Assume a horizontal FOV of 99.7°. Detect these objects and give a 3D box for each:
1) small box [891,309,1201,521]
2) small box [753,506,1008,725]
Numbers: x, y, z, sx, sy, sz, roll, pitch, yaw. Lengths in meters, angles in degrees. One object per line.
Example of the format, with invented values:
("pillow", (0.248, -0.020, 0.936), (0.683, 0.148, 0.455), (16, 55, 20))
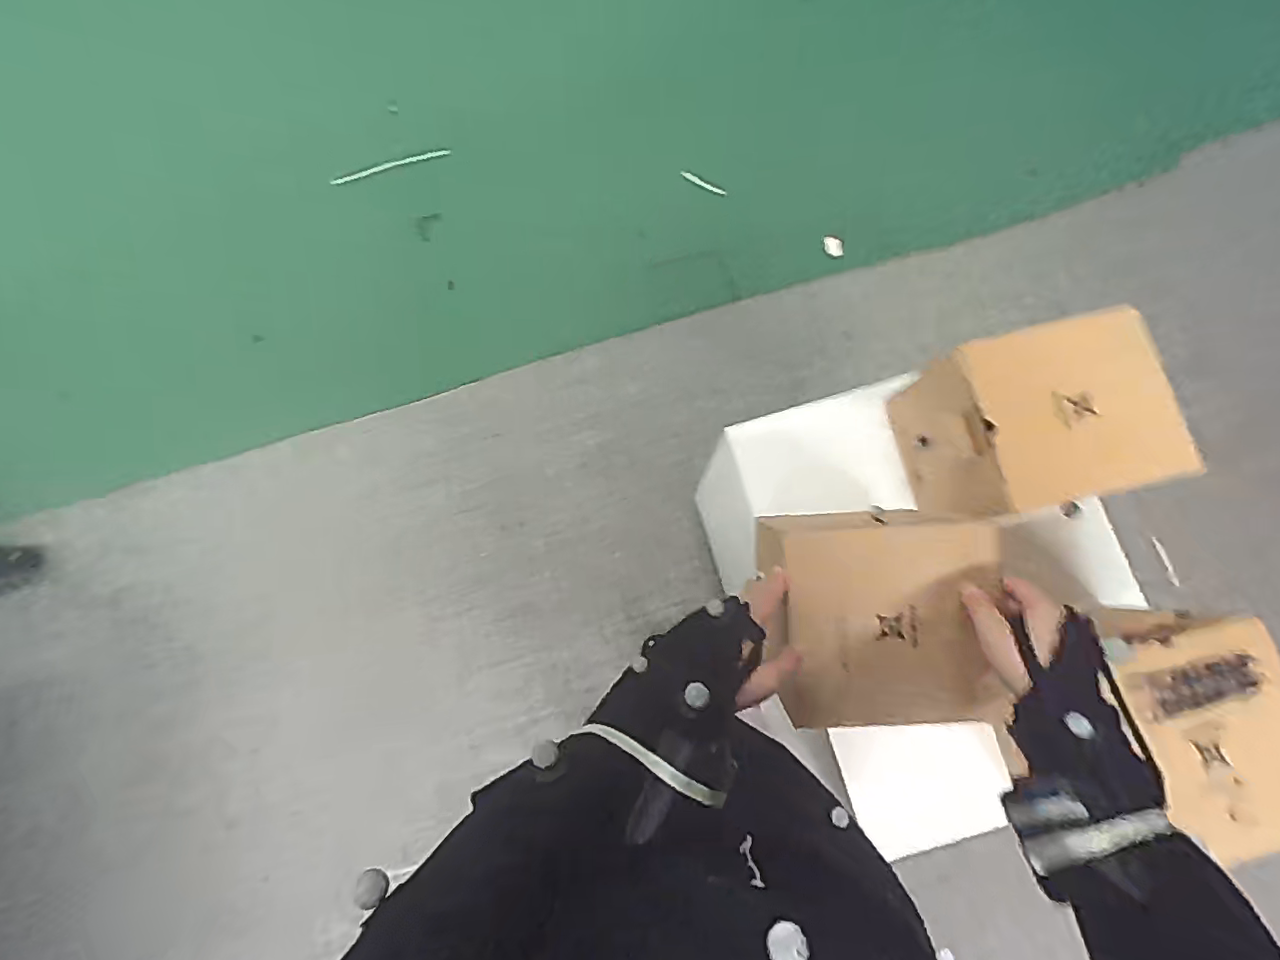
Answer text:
("small box", (0.404, -0.053, 0.574), (0.179, 0.176, 0.168), (-13, 80, 0))
("small box", (0.211, 0.115, 0.518), (0.179, 0.176, 0.168), (-3, 91, 4))
